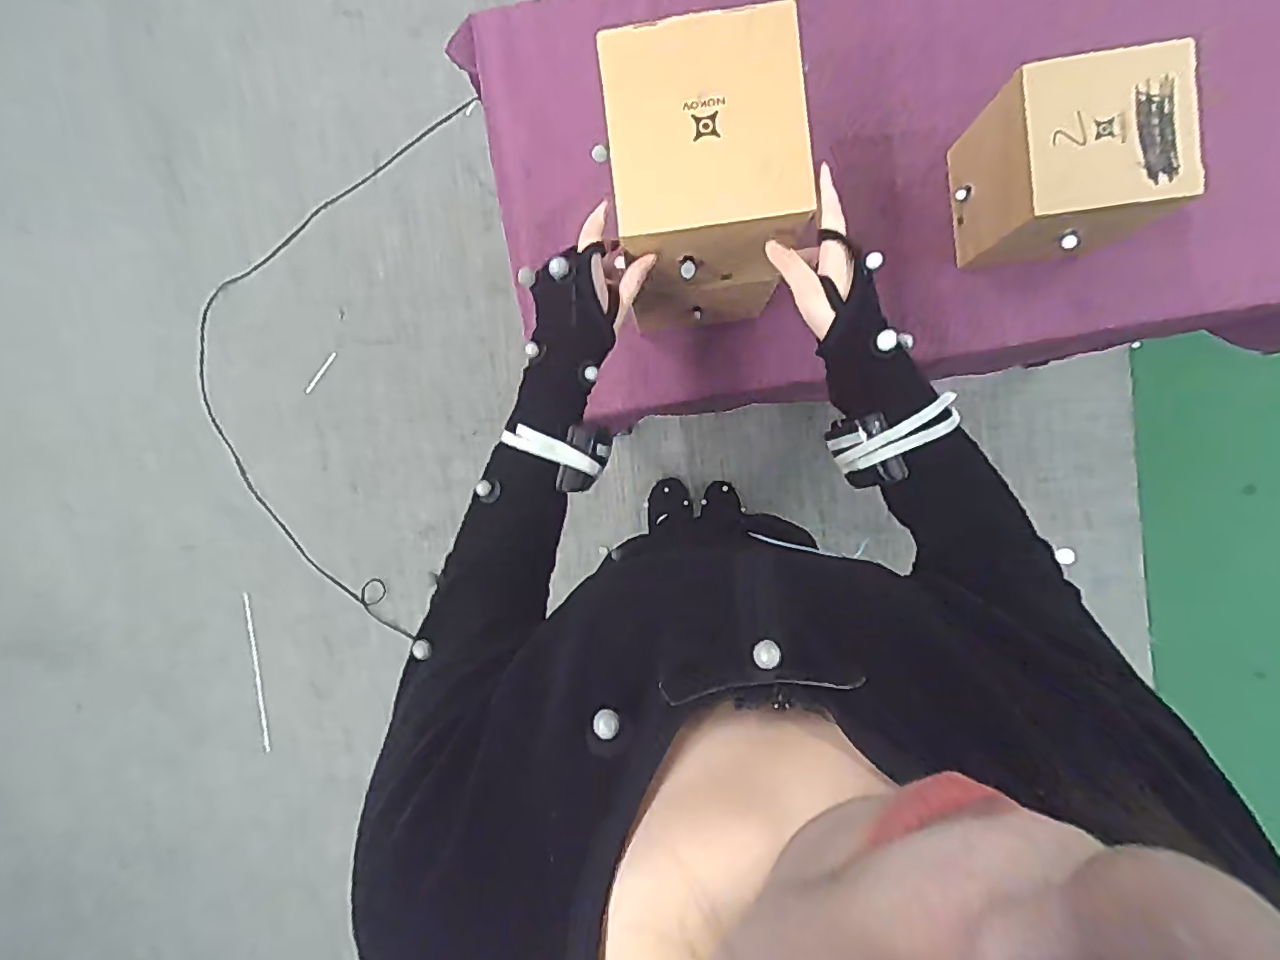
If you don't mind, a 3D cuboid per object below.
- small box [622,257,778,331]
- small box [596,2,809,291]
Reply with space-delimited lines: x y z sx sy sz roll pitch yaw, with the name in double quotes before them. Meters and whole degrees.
"small box" 0.066 -0.300 0.691 0.179 0.176 0.168 -7 91 5
"small box" 0.058 -0.298 0.529 0.168 0.176 0.179 -6 90 4
